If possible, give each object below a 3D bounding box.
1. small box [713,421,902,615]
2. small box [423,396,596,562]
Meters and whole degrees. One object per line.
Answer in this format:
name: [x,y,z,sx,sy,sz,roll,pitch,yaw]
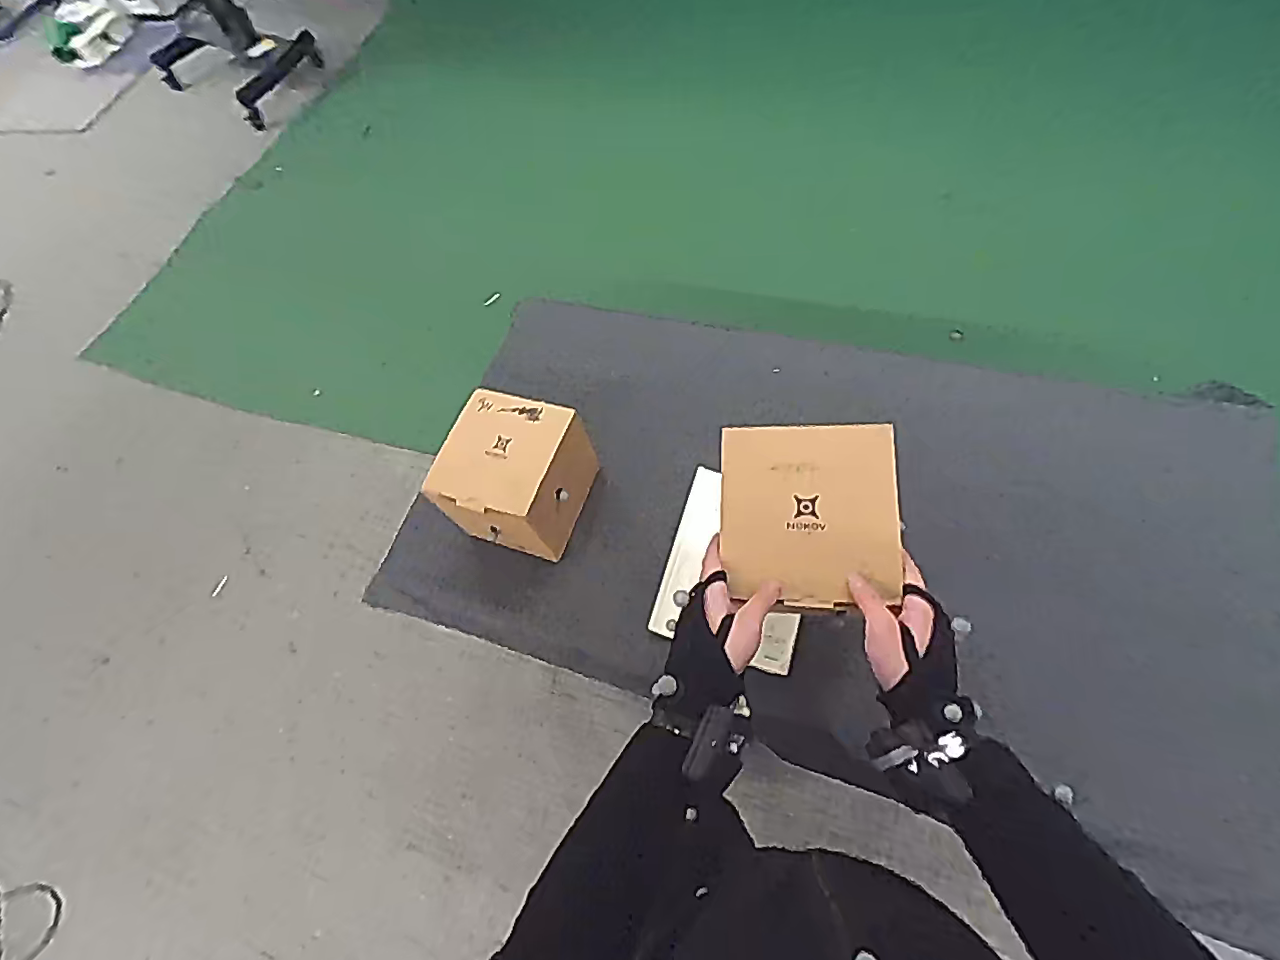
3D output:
small box: [0.170,0.050,0.581,0.168,0.176,0.179,0,73,12]
small box: [-0.180,0.005,0.812,0.168,0.176,0.179,15,67,15]
